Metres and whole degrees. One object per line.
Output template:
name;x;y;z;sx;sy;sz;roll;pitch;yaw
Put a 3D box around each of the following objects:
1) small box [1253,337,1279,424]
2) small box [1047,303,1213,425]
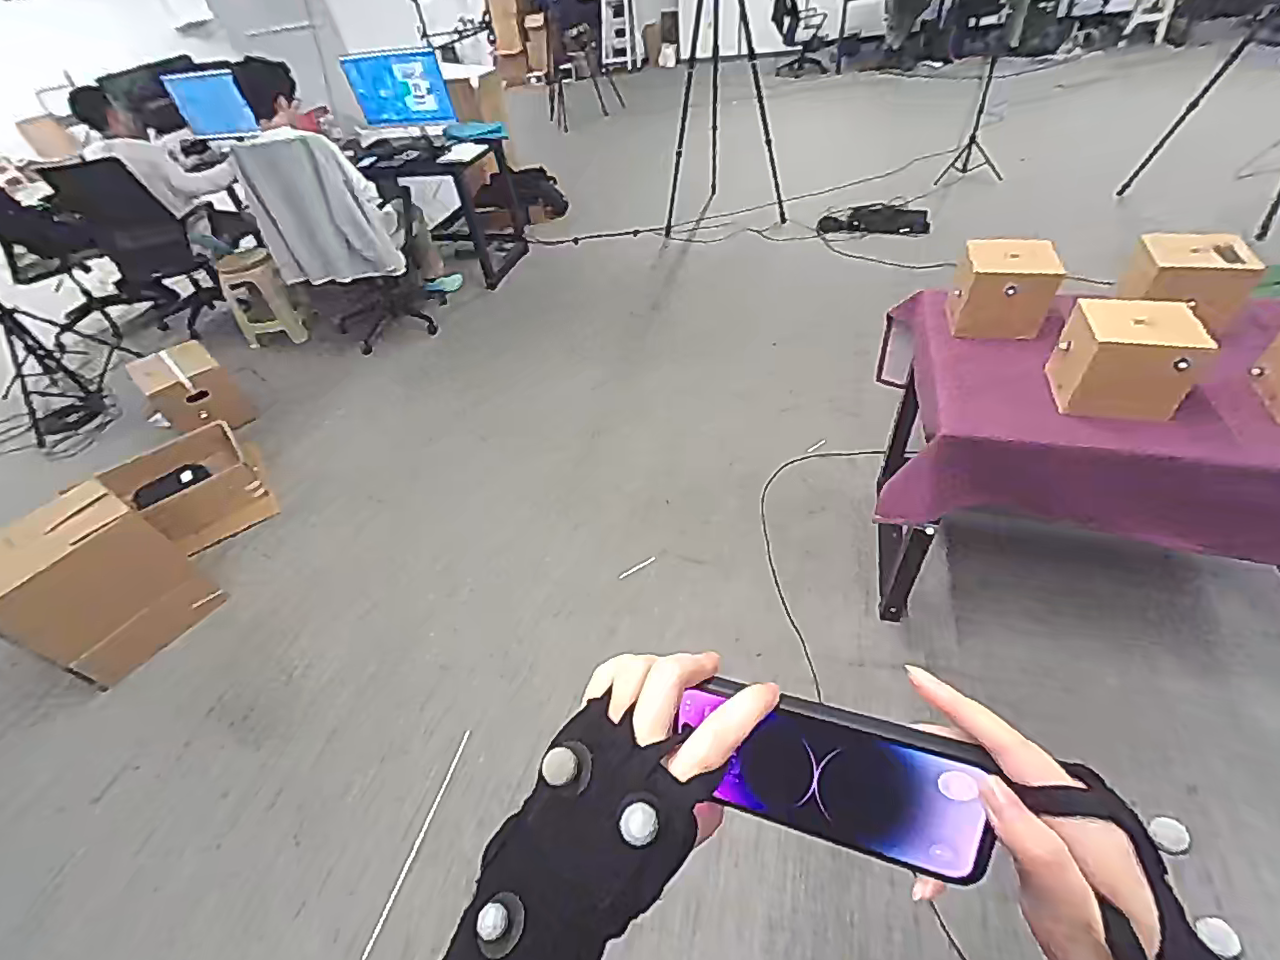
small box;1.271;-0.193;0.966;0.179;0.176;0.168;10;48;17
small box;0.931;-0.225;1.054;0.179;0.176;0.168;9;47;16
